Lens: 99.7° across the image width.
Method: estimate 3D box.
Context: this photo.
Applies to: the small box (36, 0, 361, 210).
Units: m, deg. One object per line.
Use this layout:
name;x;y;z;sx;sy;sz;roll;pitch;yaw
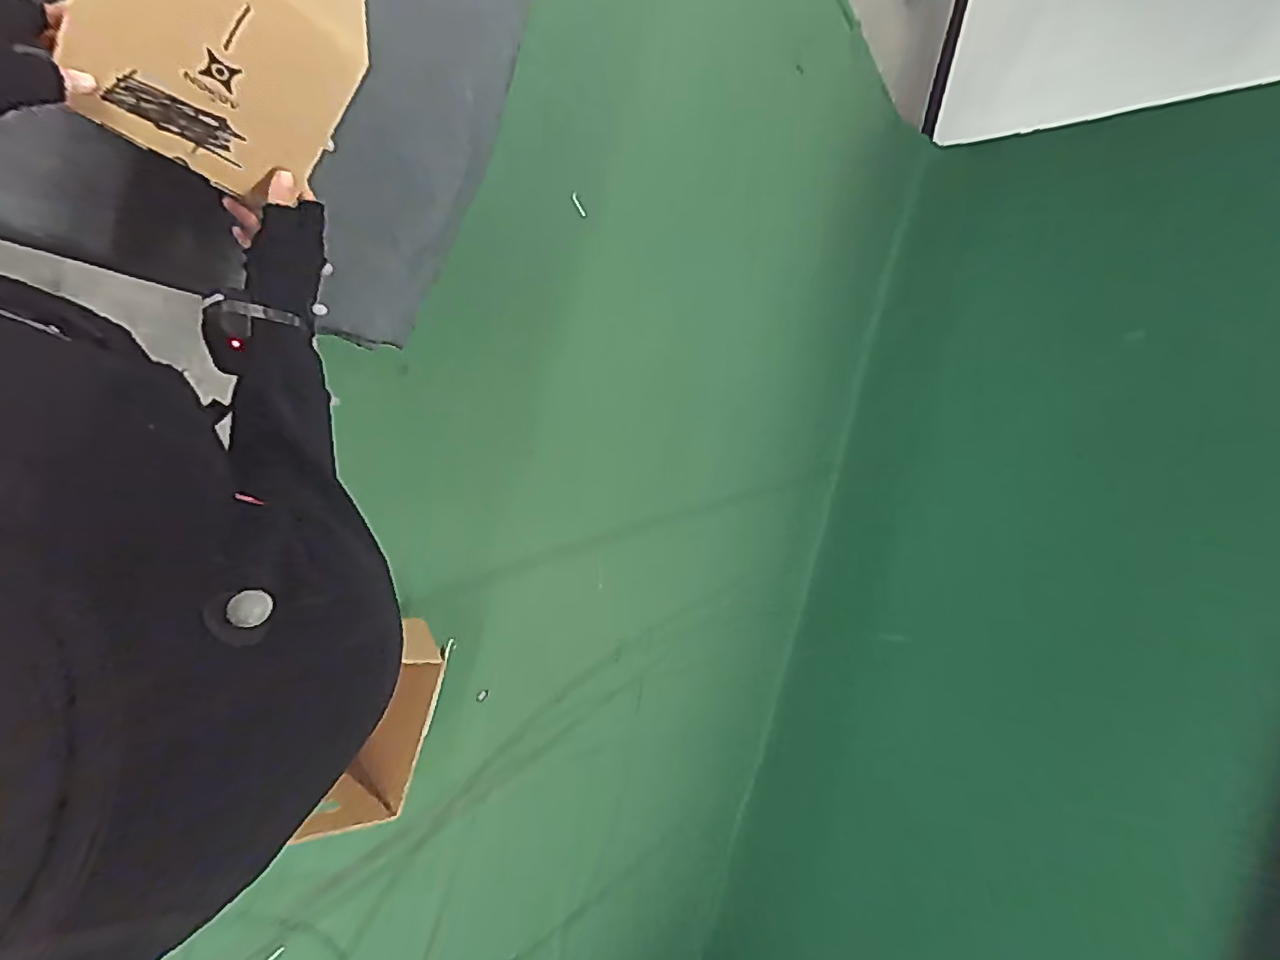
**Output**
small box;-0.364;-0.390;0.467;0.179;0.176;0.168;-36;146;26
